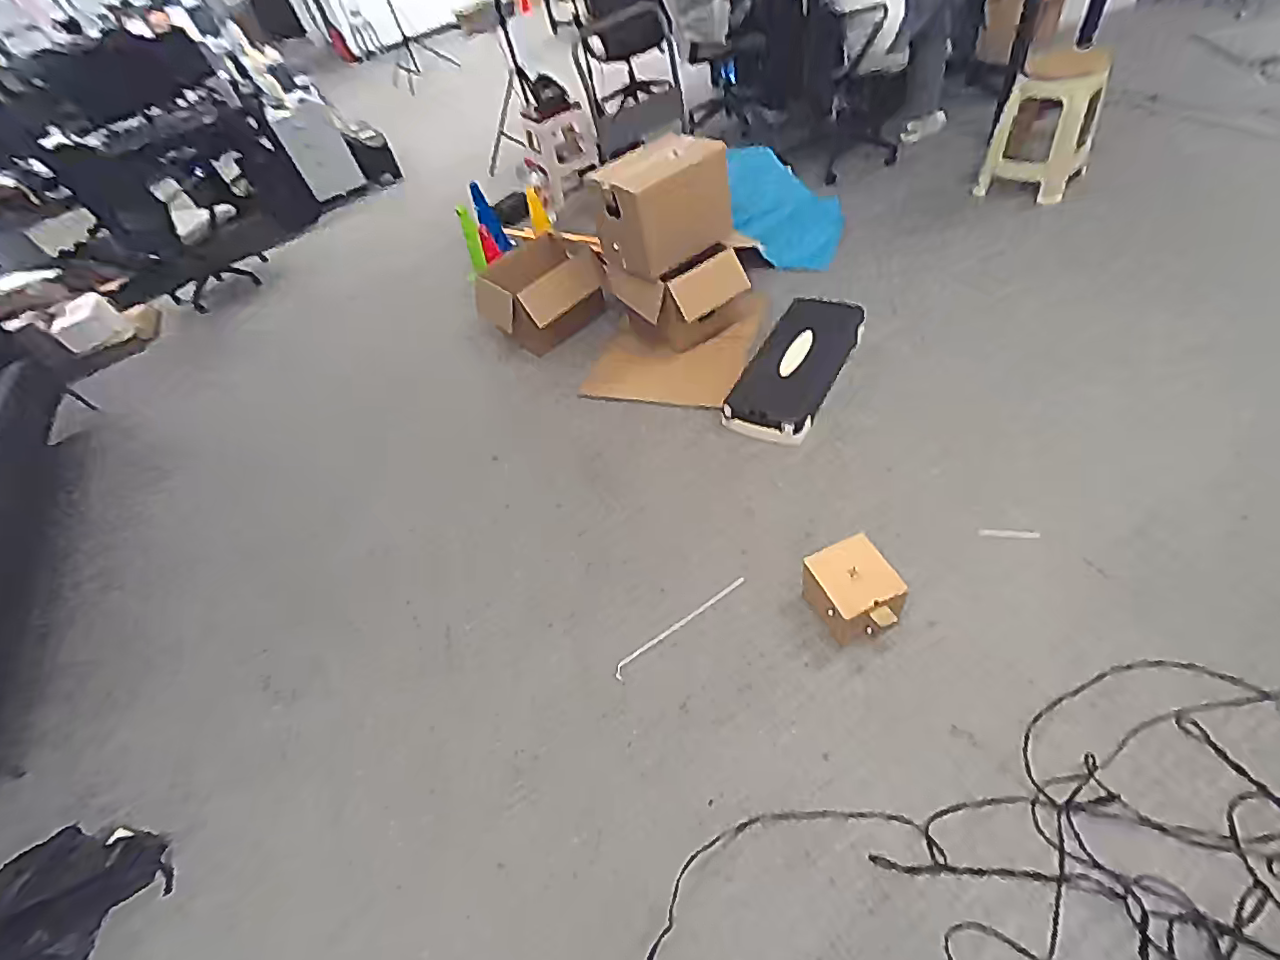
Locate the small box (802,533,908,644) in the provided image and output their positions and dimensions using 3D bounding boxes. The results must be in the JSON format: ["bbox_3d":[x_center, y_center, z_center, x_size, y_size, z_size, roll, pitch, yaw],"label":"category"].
[{"bbox_3d":[0.511,0.266,1.316,0.168,0.176,0.179,-23,50,-6],"label":"small box"}]
